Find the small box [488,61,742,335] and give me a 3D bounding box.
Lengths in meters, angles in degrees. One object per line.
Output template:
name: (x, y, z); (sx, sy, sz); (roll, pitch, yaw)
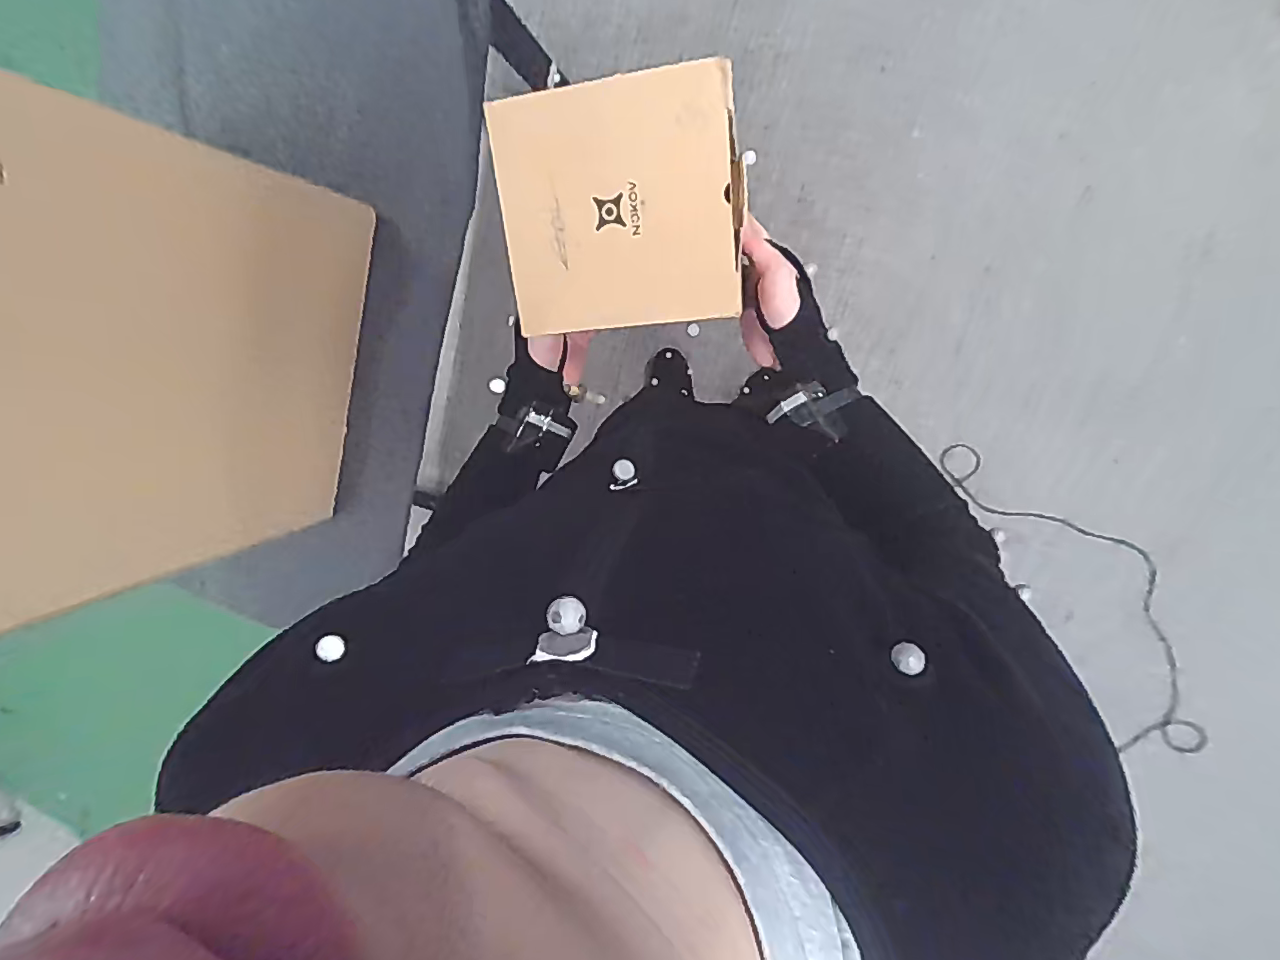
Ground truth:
small box: (-0.003, -0.221, 0.468); (0.179, 0.176, 0.168); (-2, 107, 12)
